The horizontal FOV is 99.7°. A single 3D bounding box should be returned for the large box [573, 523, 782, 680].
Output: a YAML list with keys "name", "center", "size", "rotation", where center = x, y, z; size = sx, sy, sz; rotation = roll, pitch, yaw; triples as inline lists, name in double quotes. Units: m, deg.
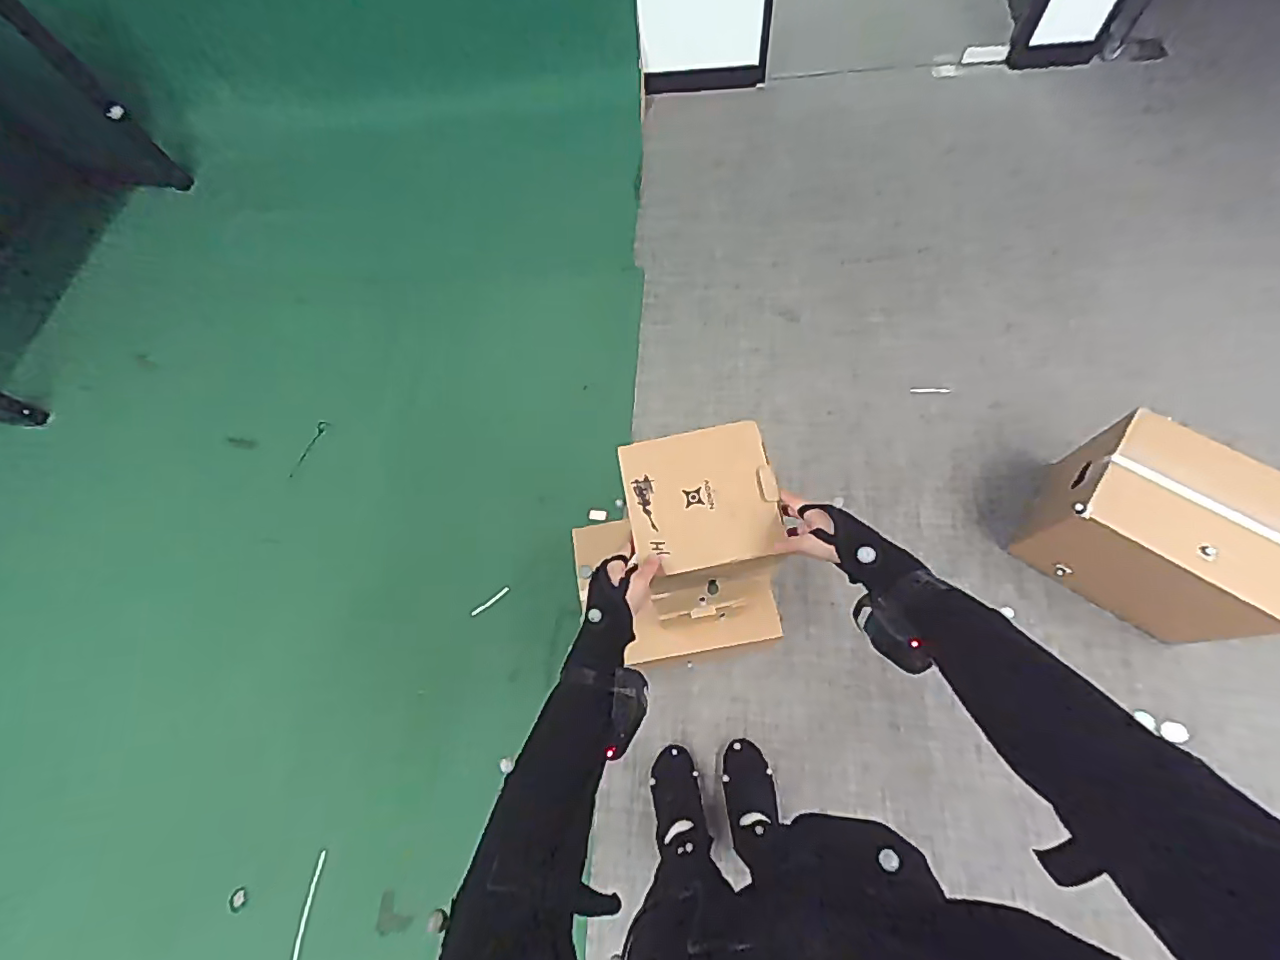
- name: "large box"
  center: [0.087, 0.276, 1.288]
  size: [0.408, 0.320, 0.320]
  rotation: [-12, 65, 3]

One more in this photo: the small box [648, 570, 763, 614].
- name: "small box"
  center: [0.092, 0.119, 0.908]
  size: [0.179, 0.176, 0.168]
  rotation: [-12, 67, 1]

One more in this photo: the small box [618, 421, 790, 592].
- name: "small box"
  center: [0.075, 0.043, 0.703]
  size: [0.179, 0.176, 0.168]
  rotation: [-11, 70, 1]

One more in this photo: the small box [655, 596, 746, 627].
- name: "small box"
  center: [0.106, 0.185, 1.057]
  size: [0.168, 0.176, 0.179]
  rotation: [-11, 67, 2]
